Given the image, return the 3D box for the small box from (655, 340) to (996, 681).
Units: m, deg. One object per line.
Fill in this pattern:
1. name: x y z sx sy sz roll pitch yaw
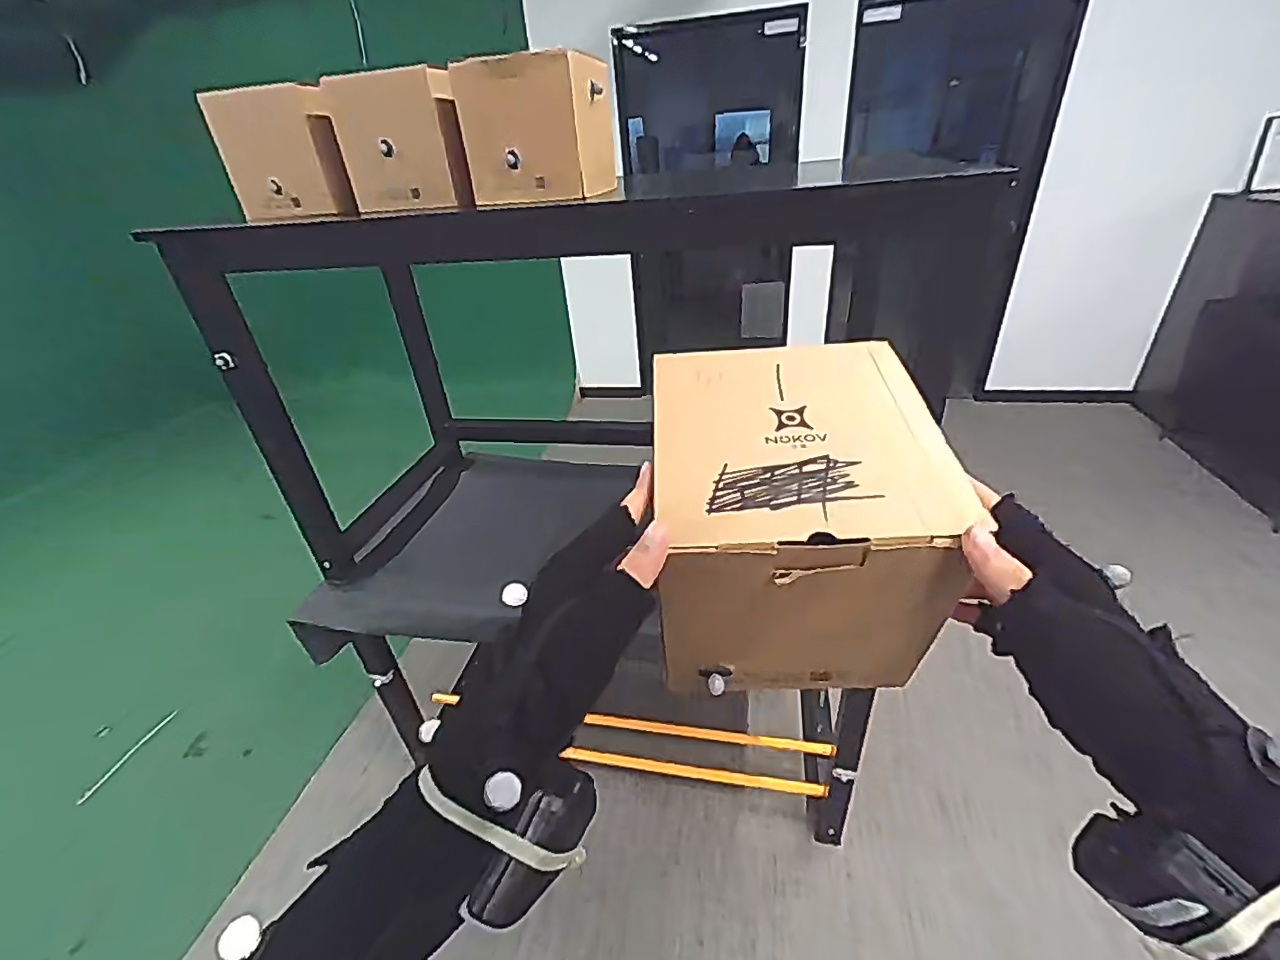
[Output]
1. small box: 0.098 0.026 0.376 0.168 0.176 0.179 -2 46 4

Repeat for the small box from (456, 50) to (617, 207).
1. small box: -0.132 -0.492 0.773 0.168 0.176 0.179 3 33 13
